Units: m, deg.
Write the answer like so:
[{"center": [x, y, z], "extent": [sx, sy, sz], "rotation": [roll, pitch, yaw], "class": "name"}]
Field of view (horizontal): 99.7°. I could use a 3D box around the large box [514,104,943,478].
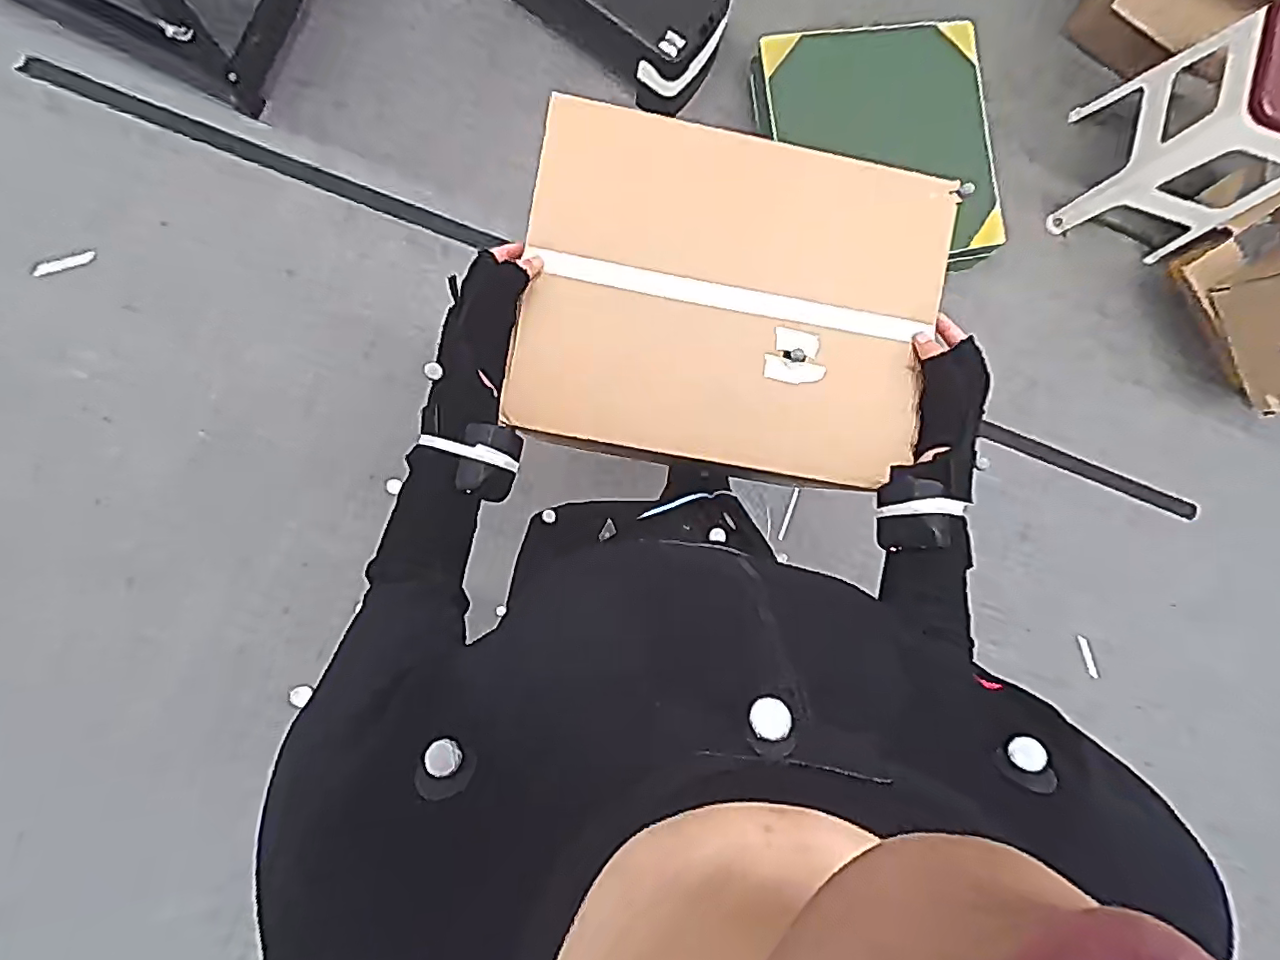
[{"center": [0.079, -0.184, 0.683], "extent": [0.408, 0.320, 0.320], "rotation": [10, 91, -6], "class": "large box"}]
